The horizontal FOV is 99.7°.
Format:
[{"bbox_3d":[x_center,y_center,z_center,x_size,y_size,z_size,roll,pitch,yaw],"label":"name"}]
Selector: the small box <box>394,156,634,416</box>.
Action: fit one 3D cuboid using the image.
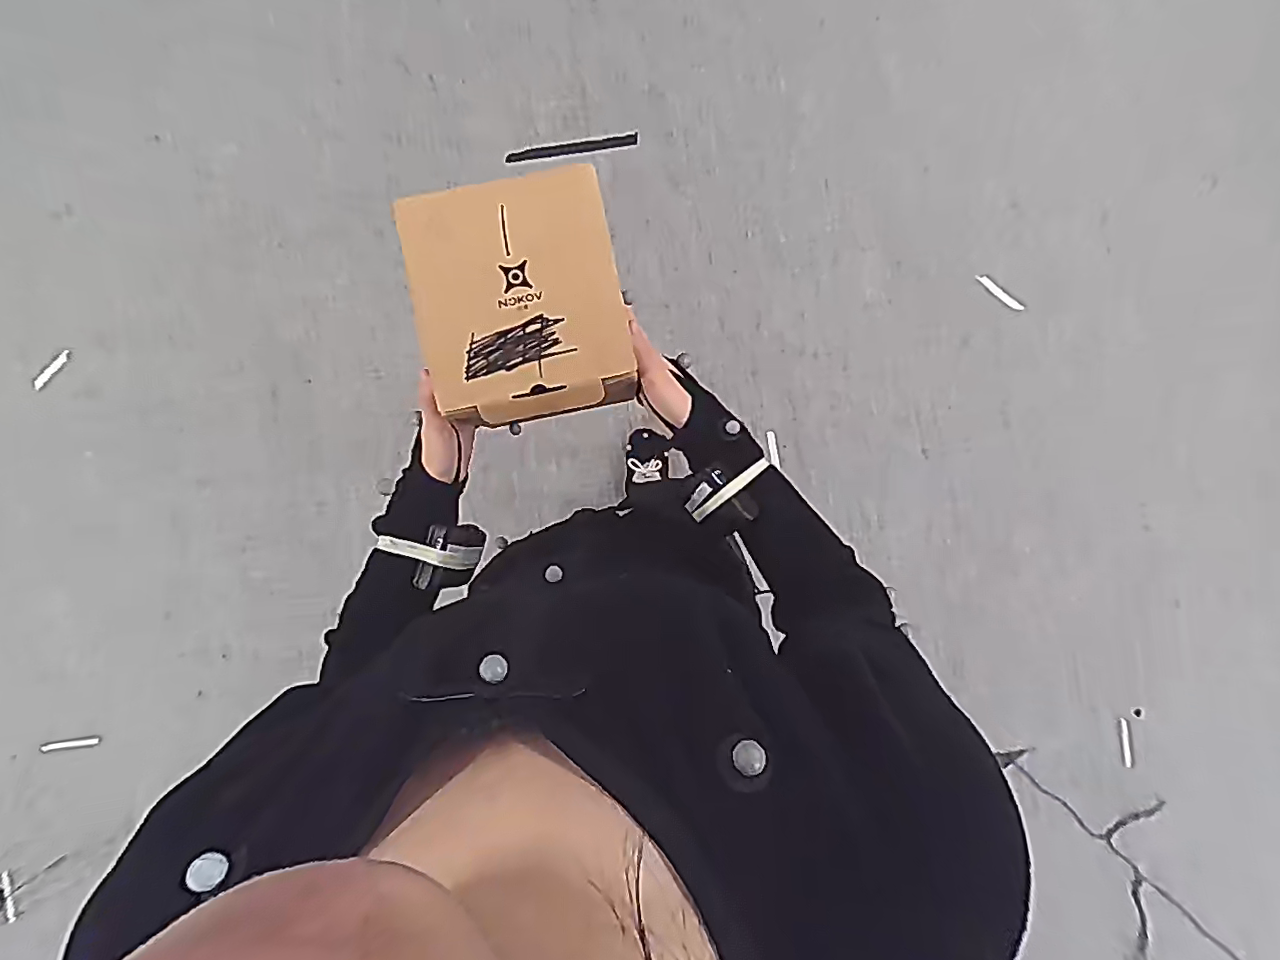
[{"bbox_3d":[-0.100,-0.160,0.510,0.168,0.176,0.179,-12,91,-1],"label":"small box"}]
